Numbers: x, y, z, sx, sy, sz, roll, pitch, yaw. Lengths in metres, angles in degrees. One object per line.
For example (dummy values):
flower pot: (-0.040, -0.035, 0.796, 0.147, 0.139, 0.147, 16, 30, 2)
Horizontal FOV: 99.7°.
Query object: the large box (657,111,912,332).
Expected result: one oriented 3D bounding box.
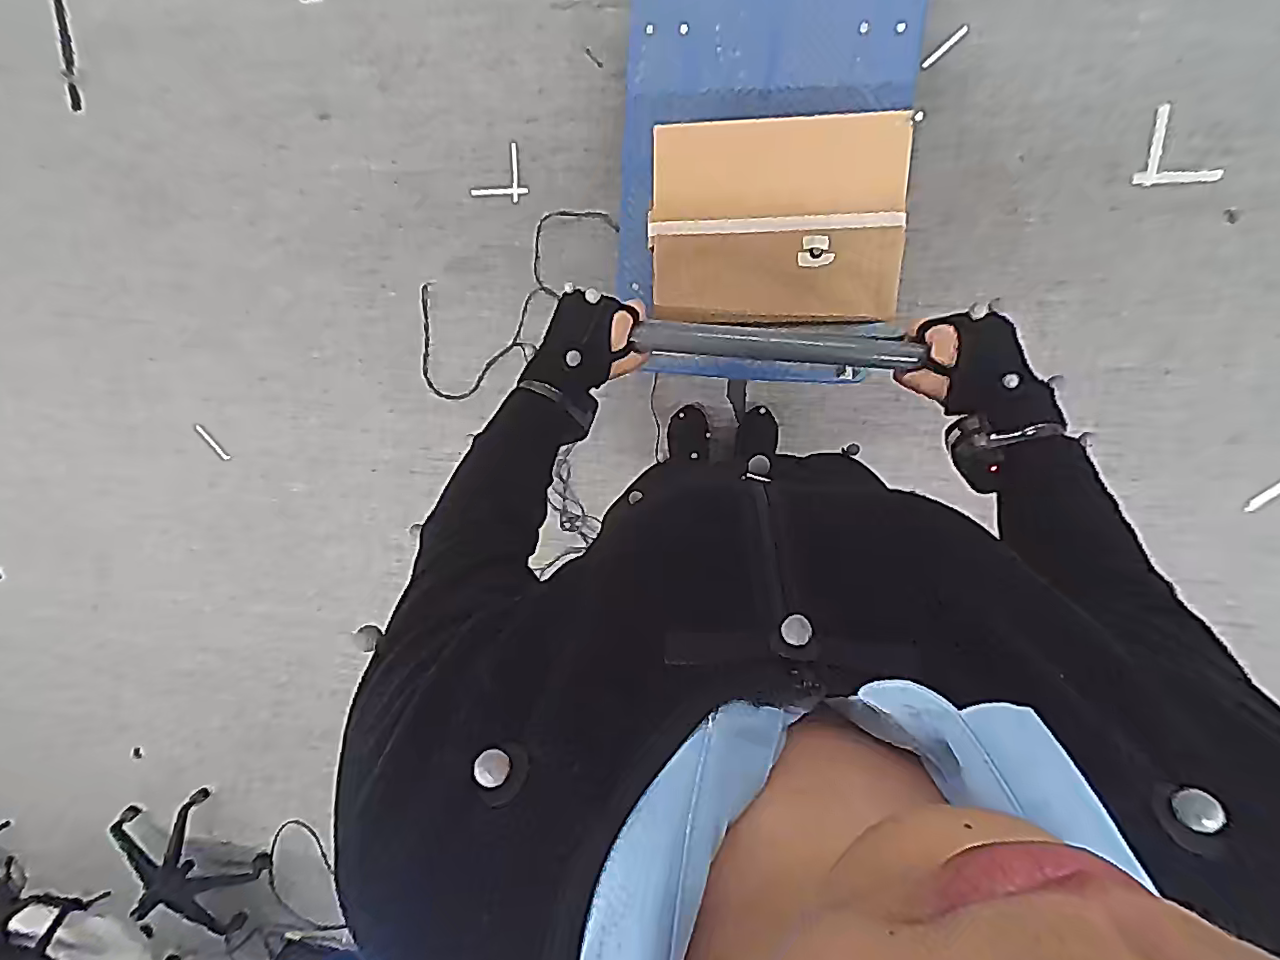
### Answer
large box: (0.245, -0.457, 1.039, 0.408, 0.320, 0.320, 1, 104, 6)
